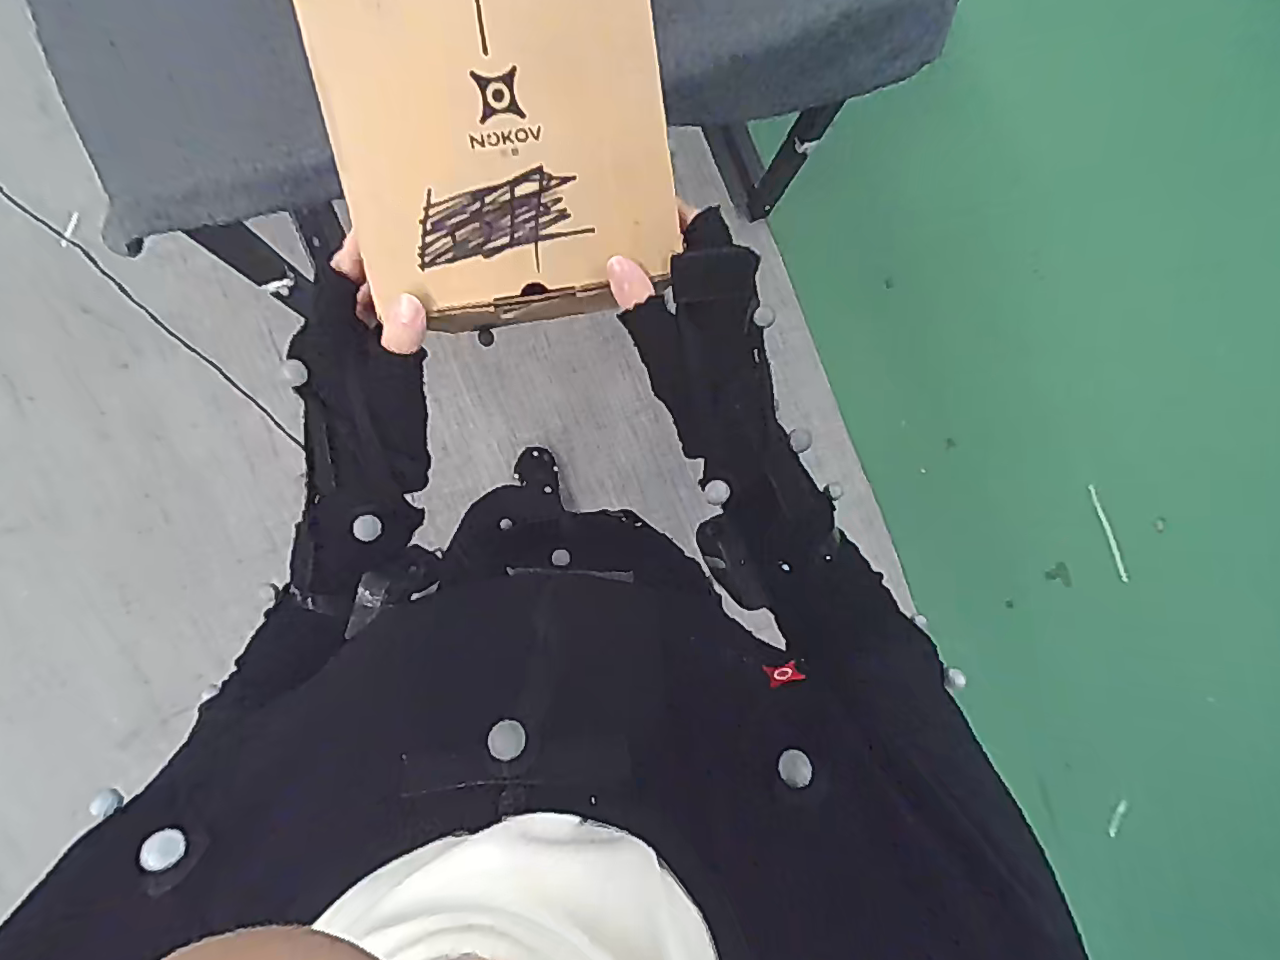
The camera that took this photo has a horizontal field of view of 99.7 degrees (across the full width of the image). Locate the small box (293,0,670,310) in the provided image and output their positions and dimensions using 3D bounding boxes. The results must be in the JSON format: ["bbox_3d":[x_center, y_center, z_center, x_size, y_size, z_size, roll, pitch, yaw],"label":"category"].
[{"bbox_3d":[-0.081,-0.209,0.344,0.168,0.176,0.179,-10,103,-4],"label":"small box"}]
